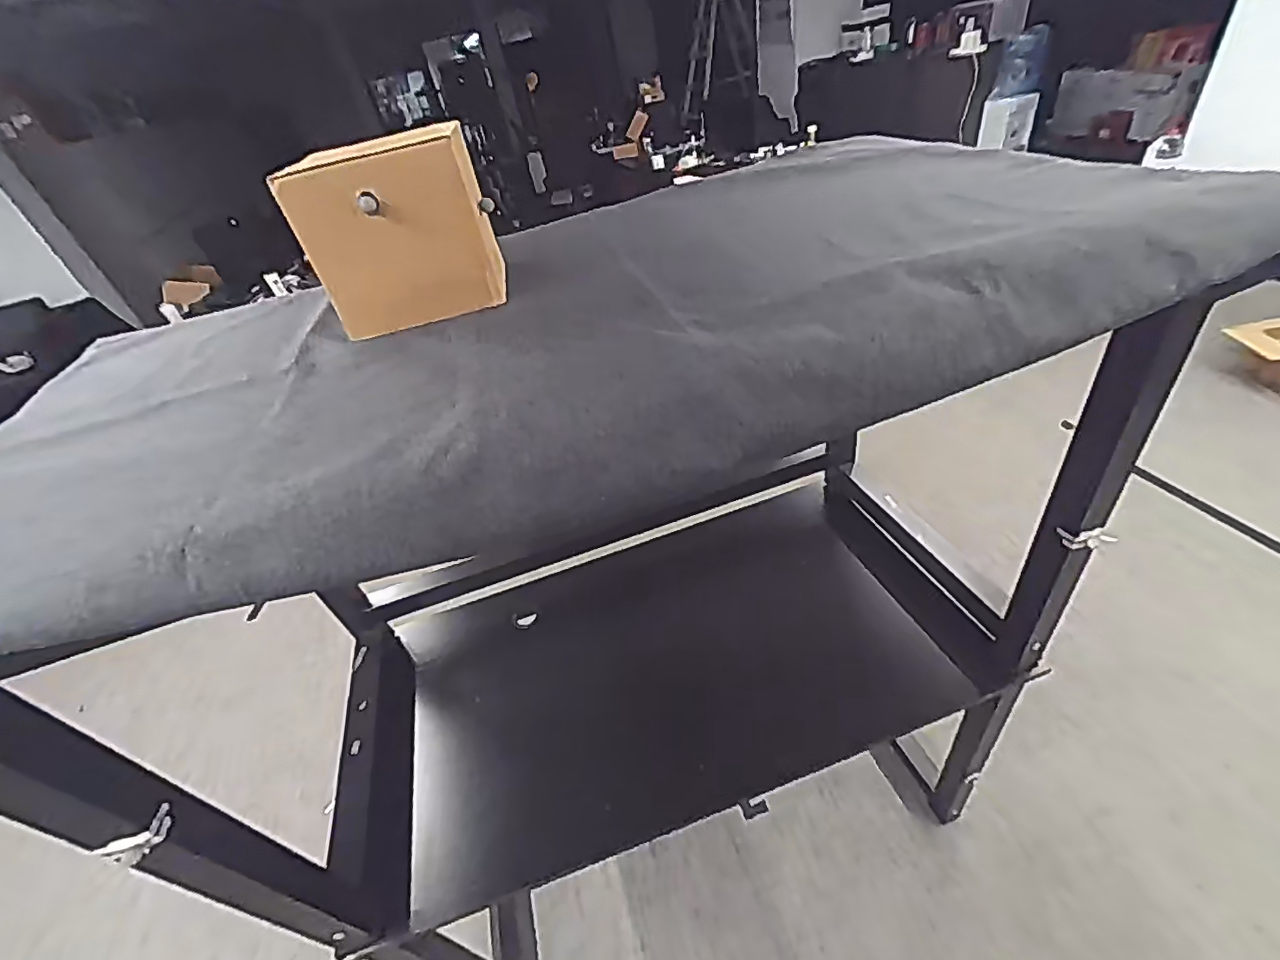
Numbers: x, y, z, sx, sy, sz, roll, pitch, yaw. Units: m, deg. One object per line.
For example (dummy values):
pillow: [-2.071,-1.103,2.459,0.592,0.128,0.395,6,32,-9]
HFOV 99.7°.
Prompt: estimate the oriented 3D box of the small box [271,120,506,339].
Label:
small box: [-0.258,-0.283,0.611,0.179,0.176,0.168,-16,39,-3]
